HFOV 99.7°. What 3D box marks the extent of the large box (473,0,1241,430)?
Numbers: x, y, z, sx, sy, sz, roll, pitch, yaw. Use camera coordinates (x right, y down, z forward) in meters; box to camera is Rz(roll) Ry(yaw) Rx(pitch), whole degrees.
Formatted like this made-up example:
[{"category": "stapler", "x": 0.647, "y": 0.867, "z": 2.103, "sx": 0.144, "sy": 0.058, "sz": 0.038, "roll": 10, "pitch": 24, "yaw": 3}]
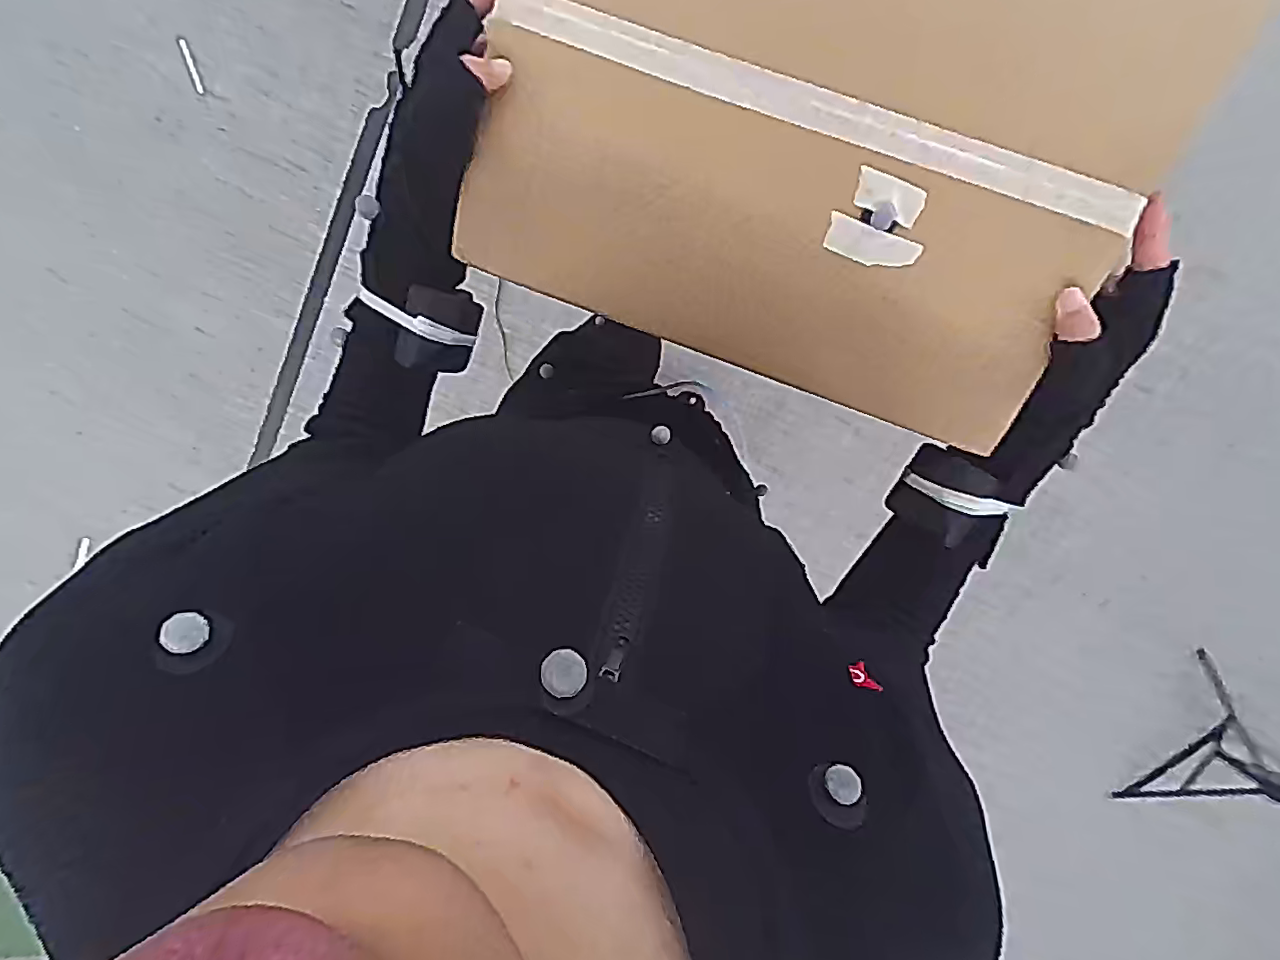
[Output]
[{"category": "large box", "x": 0.128, "y": -0.284, "z": 0.476, "sx": 0.408, "sy": 0.320, "sz": 0.320, "roll": 21, "pitch": 113, "yaw": 2}]
